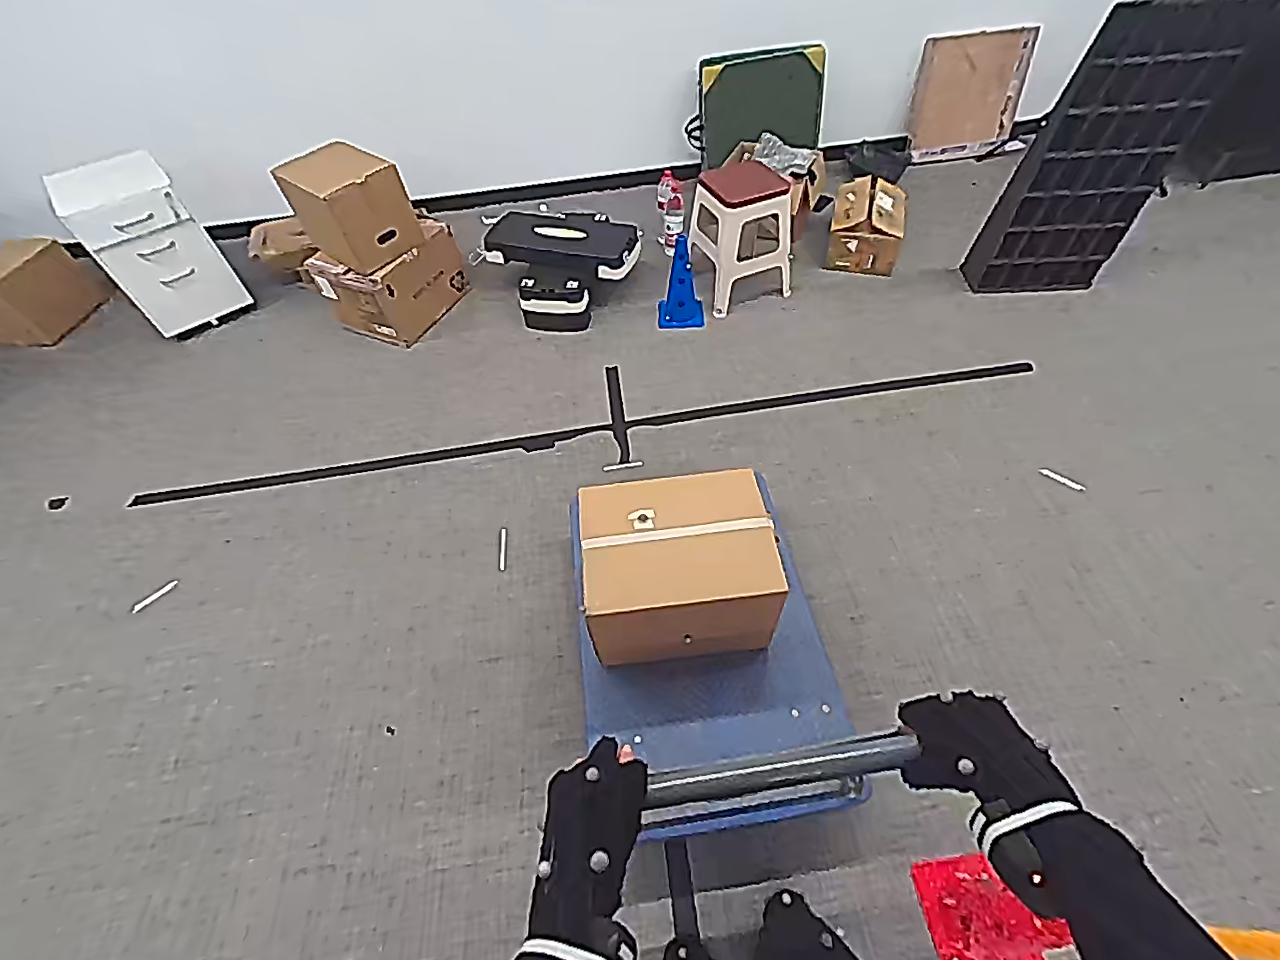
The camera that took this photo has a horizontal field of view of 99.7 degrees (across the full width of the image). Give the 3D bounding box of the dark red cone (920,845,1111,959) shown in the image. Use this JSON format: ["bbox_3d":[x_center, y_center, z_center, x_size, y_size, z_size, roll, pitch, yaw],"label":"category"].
[{"bbox_3d":[0.682,0.760,0.950,0.201,0.394,0.202,-8,52,-3],"label":"dark red cone"}]

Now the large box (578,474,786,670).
[{"bbox_3d":[0.086,0.223,1.266,0.408,0.320,0.320,-8,52,-1],"label":"large box"}]
